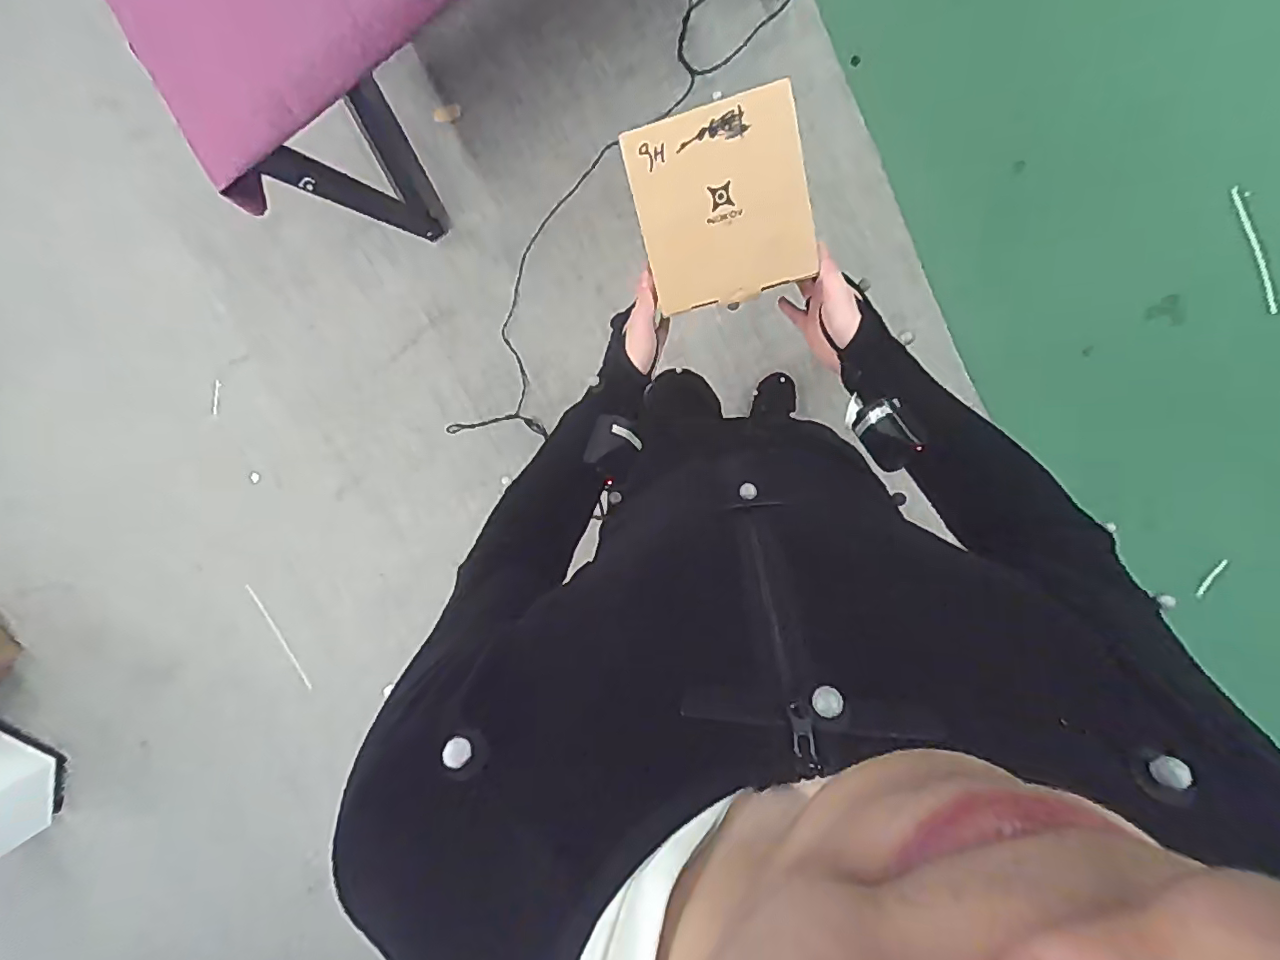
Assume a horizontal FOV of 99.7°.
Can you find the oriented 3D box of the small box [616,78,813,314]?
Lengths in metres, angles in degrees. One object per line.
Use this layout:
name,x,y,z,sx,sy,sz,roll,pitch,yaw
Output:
small box,0.081,-0.299,0.603,0.168,0.176,0.179,-13,109,8
